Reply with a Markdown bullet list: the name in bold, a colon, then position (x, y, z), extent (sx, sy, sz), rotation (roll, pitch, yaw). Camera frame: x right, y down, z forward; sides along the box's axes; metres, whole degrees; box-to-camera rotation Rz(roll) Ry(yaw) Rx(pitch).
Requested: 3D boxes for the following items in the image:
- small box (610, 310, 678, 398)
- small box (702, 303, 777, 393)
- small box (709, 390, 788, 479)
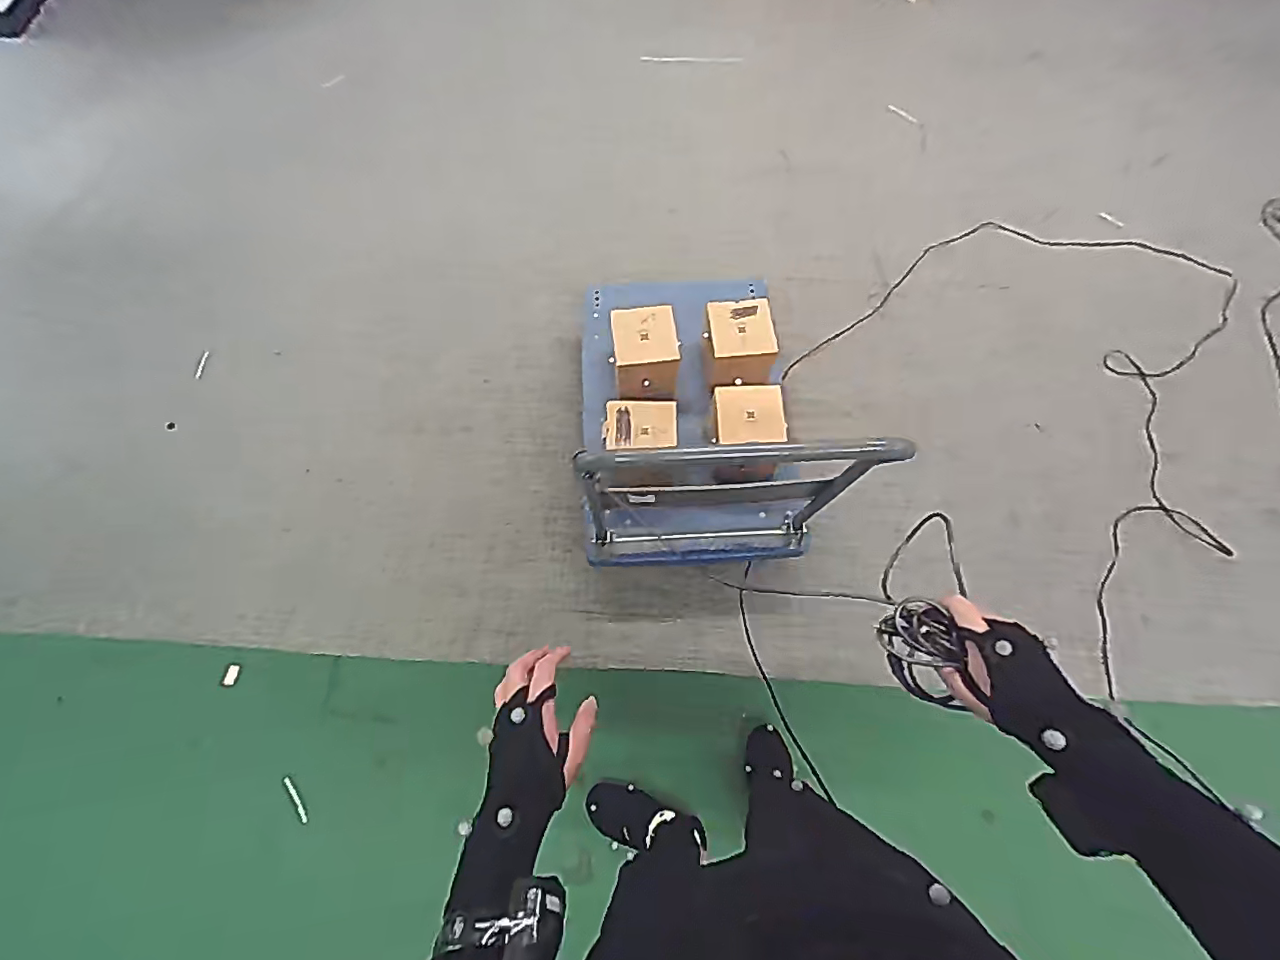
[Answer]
- **small box**: position (0.011, -0.338, 1.488), extent (0.168, 0.176, 0.179), rotation (-6, 68, -2)
- **small box**: position (0.268, -0.360, 1.493), extent (0.168, 0.176, 0.179), rotation (-5, 69, 0)
- **small box**: position (0.272, -0.115, 1.399), extent (0.168, 0.176, 0.179), rotation (-2, 69, 0)
